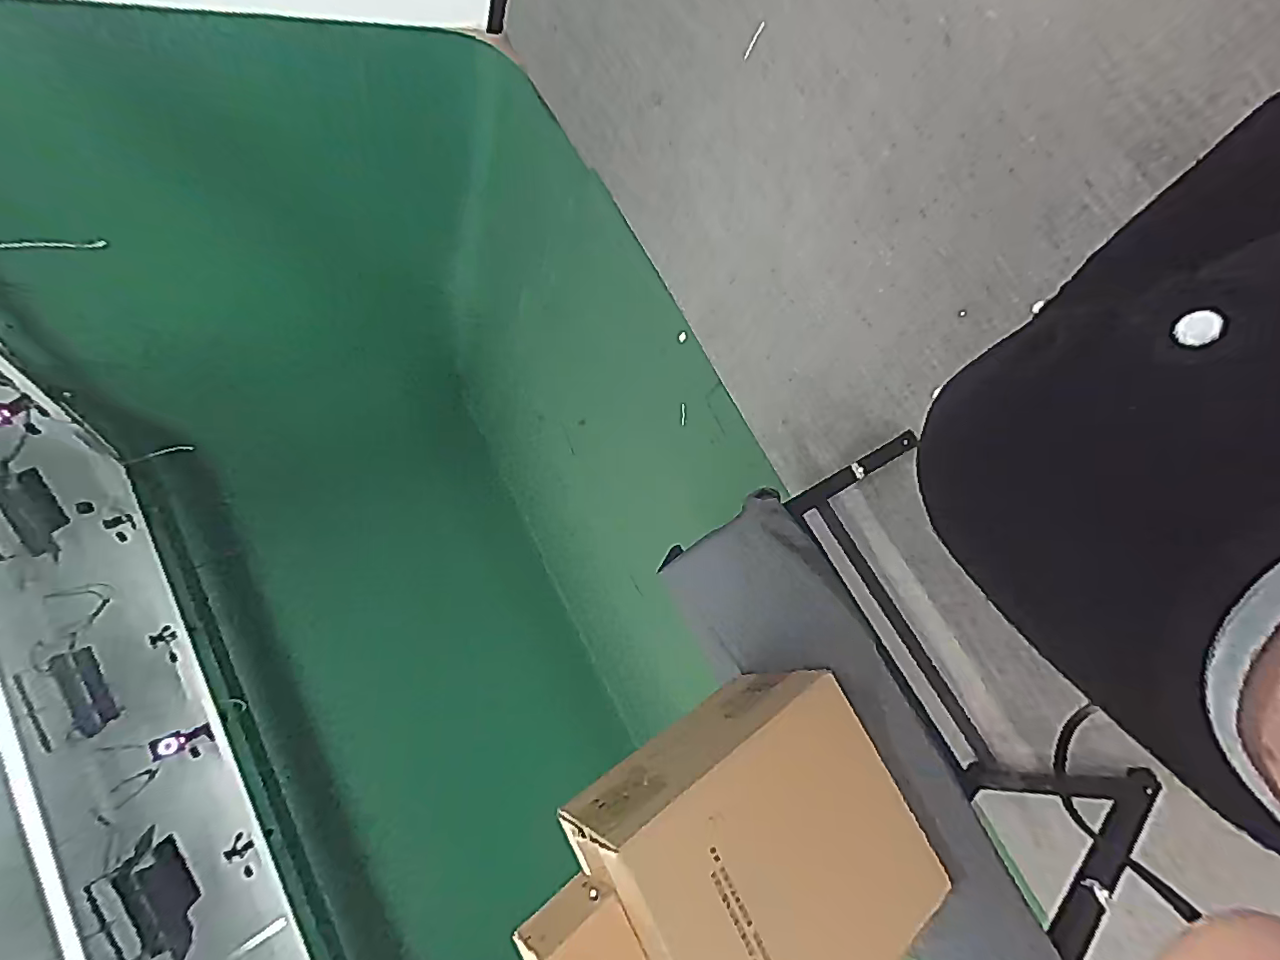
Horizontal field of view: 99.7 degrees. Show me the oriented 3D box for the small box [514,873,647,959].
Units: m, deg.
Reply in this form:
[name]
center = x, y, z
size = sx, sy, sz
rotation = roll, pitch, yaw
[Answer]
[small box]
center = -0.110, 0.903, 1.032
size = 0.179, 0.176, 0.168
rotation = 62, 144, 7
